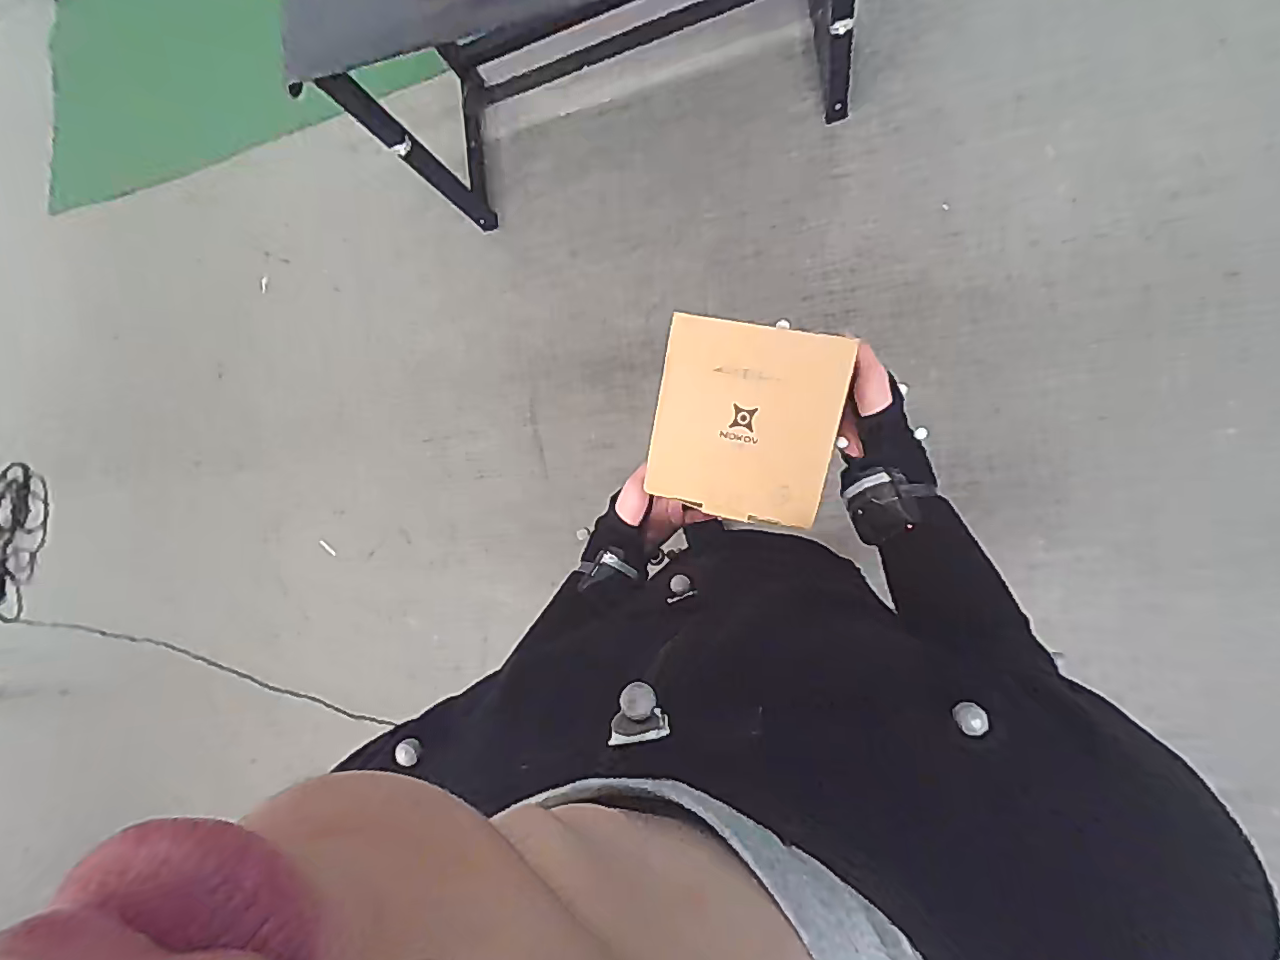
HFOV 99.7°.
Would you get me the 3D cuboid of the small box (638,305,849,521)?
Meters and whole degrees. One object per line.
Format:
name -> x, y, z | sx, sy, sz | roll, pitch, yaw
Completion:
small box -> 0.109, -0.075, 0.575 | 0.168, 0.176, 0.179 | 13, 103, 12
